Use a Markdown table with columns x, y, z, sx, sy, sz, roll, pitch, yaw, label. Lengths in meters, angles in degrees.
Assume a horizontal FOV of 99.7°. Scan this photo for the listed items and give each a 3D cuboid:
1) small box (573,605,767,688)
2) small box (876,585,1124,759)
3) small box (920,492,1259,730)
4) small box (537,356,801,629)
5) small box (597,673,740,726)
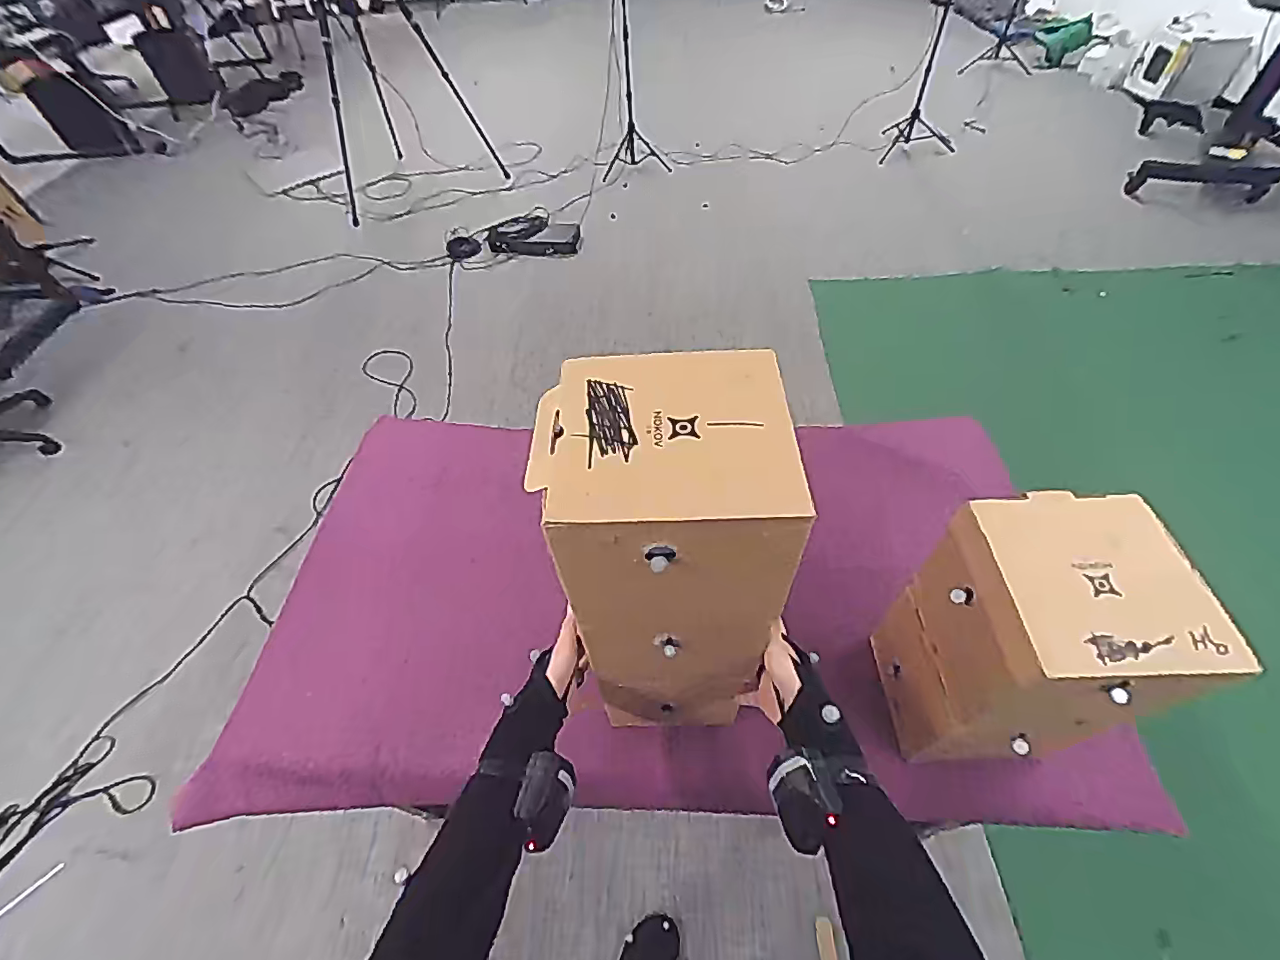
| x | y | z | sx | sy | sz | roll | pitch | yaw | label |
| --- | --- | --- | --- | --- | --- | --- | --- | --- | --- |
| 0.033 | 0.118 | 0.588 | 0.179 | 0.176 | 0.168 | -3 | 52 | 3 | small box |
| 0.418 | 0.237 | 0.666 | 0.179 | 0.176 | 0.168 | -4 | 52 | 4 | small box |
| 0.407 | 0.133 | 0.538 | 0.168 | 0.176 | 0.179 | -4 | 51 | 5 | small box |
| 0.025 | 0.017 | 0.460 | 0.179 | 0.176 | 0.168 | -3 | 52 | 3 | small box |
| 0.041 | 0.217 | 0.718 | 0.168 | 0.176 | 0.179 | -2 | 50 | 4 | small box |
